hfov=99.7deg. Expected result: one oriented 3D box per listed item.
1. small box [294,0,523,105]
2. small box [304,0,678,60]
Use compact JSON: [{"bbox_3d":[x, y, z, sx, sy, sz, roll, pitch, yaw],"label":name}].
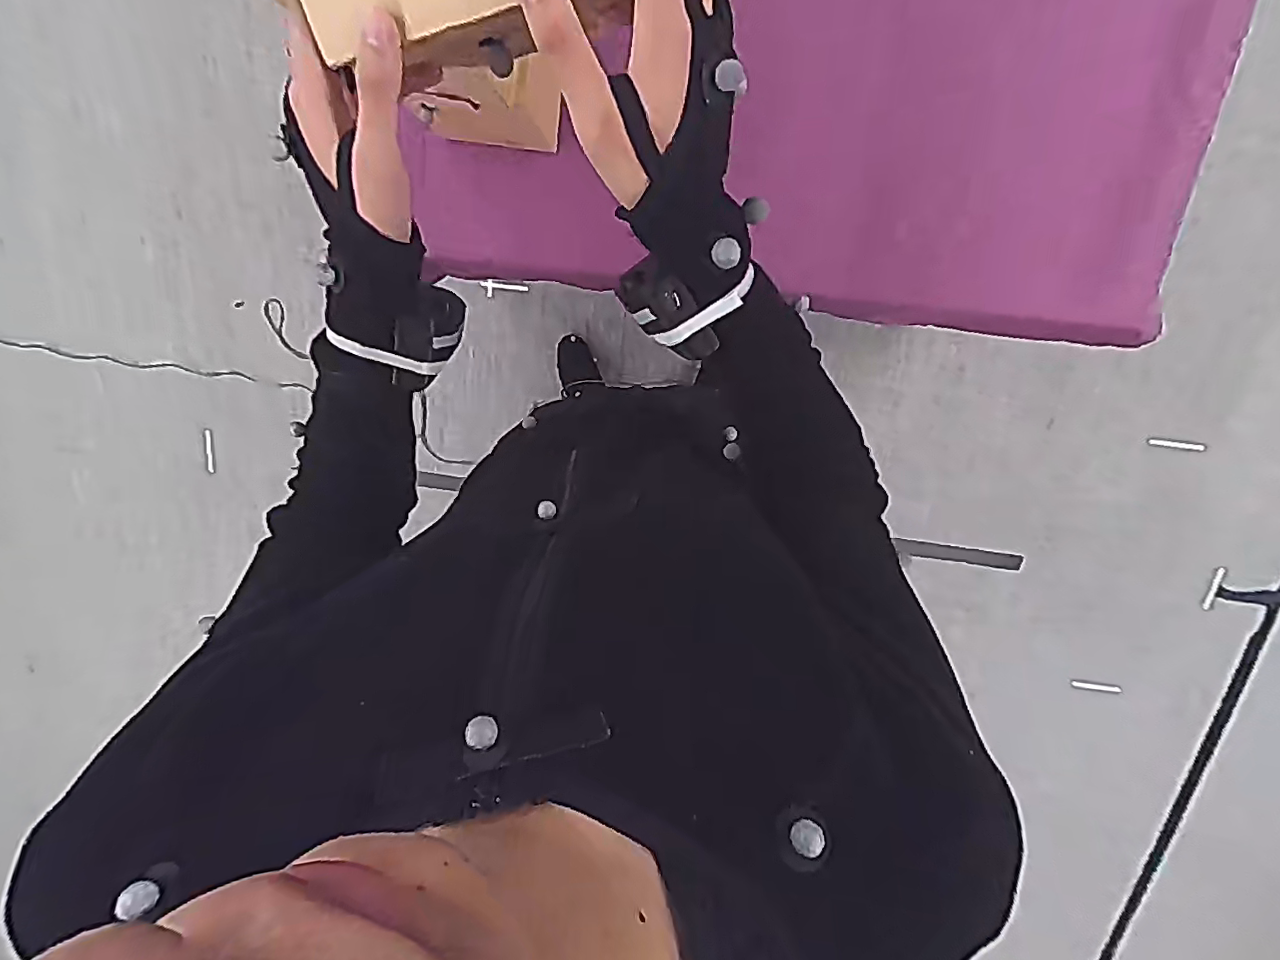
[{"bbox_3d":[-0.212,-0.493,0.513,0.179,0.176,0.168,14,106,-1],"label":"small box"},{"bbox_3d":[-0.077,-0.332,0.266,0.168,0.176,0.179,-1,124,18],"label":"small box"}]
